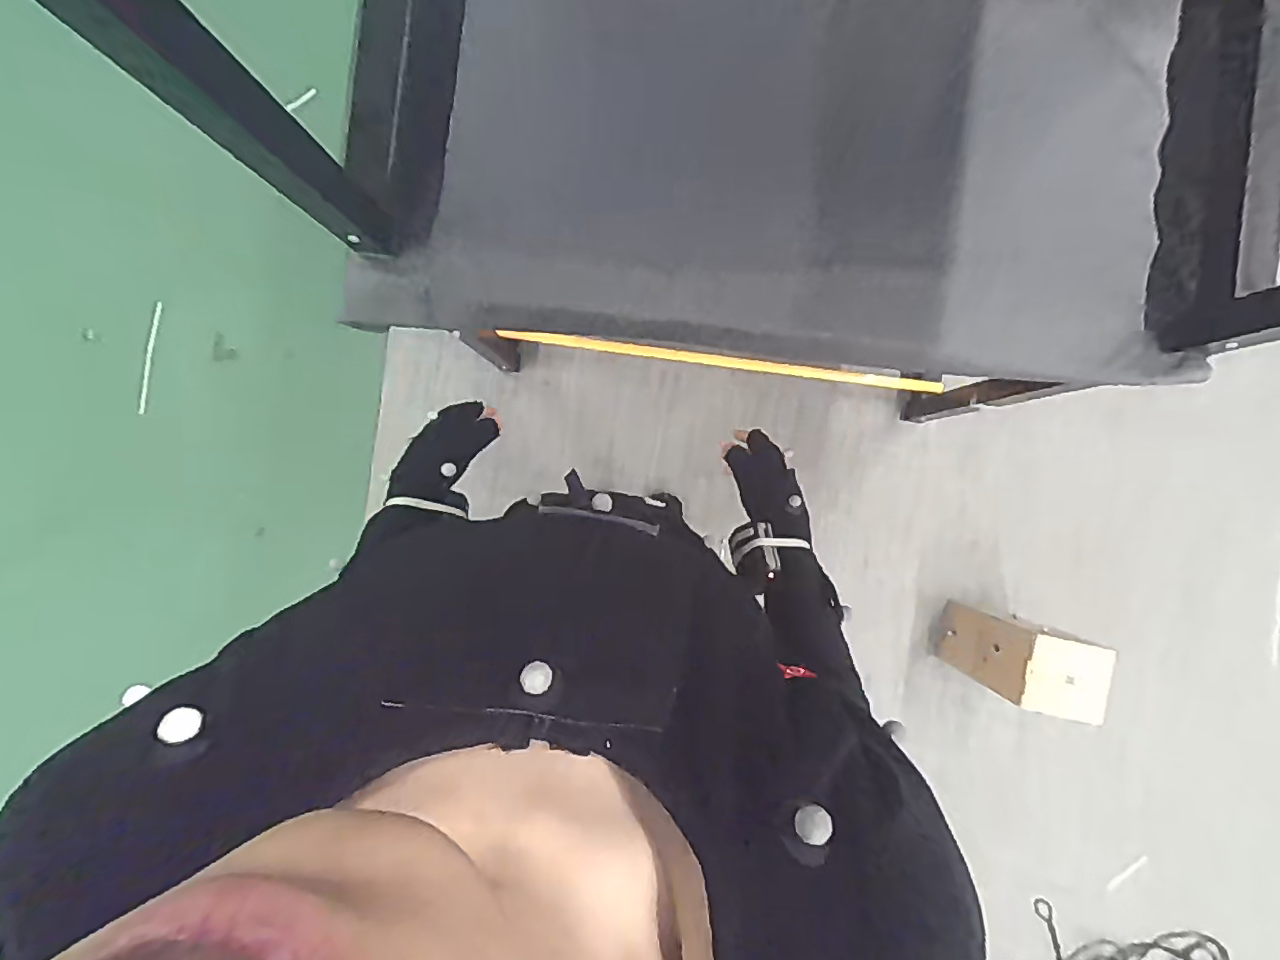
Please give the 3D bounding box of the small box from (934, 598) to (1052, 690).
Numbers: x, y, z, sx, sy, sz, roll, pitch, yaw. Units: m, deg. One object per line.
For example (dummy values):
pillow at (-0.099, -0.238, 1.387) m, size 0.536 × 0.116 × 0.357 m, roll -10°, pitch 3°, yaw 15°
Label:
small box at (0.907, 0.418, 1.404) m, size 0.179 × 0.176 × 0.168 m, roll 14°, pitch 90°, yaw 1°
